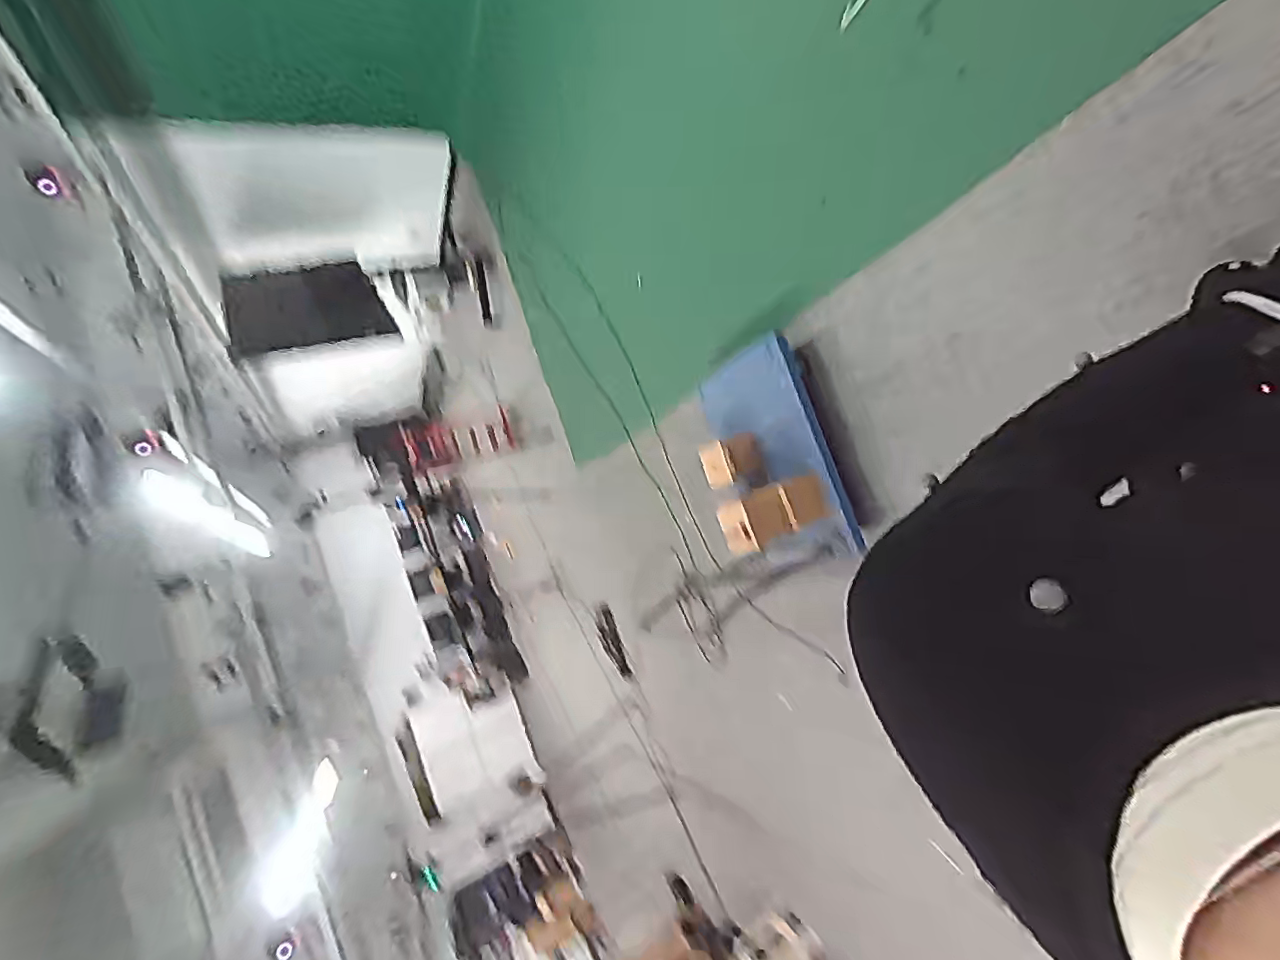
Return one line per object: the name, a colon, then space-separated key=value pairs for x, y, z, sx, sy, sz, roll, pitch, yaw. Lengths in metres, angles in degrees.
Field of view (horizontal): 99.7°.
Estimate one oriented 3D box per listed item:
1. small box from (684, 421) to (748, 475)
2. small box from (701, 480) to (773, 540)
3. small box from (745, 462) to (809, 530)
small box: x=0.313 y=-0.130 z=2.219 sx=0.179 sy=0.176 sz=0.168 roll=-17 pitch=92 yaw=61
small box: x=0.354 y=0.108 z=1.943 sx=0.179 sy=0.176 sz=0.168 roll=-24 pitch=85 yaw=62
small box: x=0.507 y=0.055 z=2.005 sx=0.168 sy=0.176 sz=0.179 roll=27 pitch=130 yaw=50
